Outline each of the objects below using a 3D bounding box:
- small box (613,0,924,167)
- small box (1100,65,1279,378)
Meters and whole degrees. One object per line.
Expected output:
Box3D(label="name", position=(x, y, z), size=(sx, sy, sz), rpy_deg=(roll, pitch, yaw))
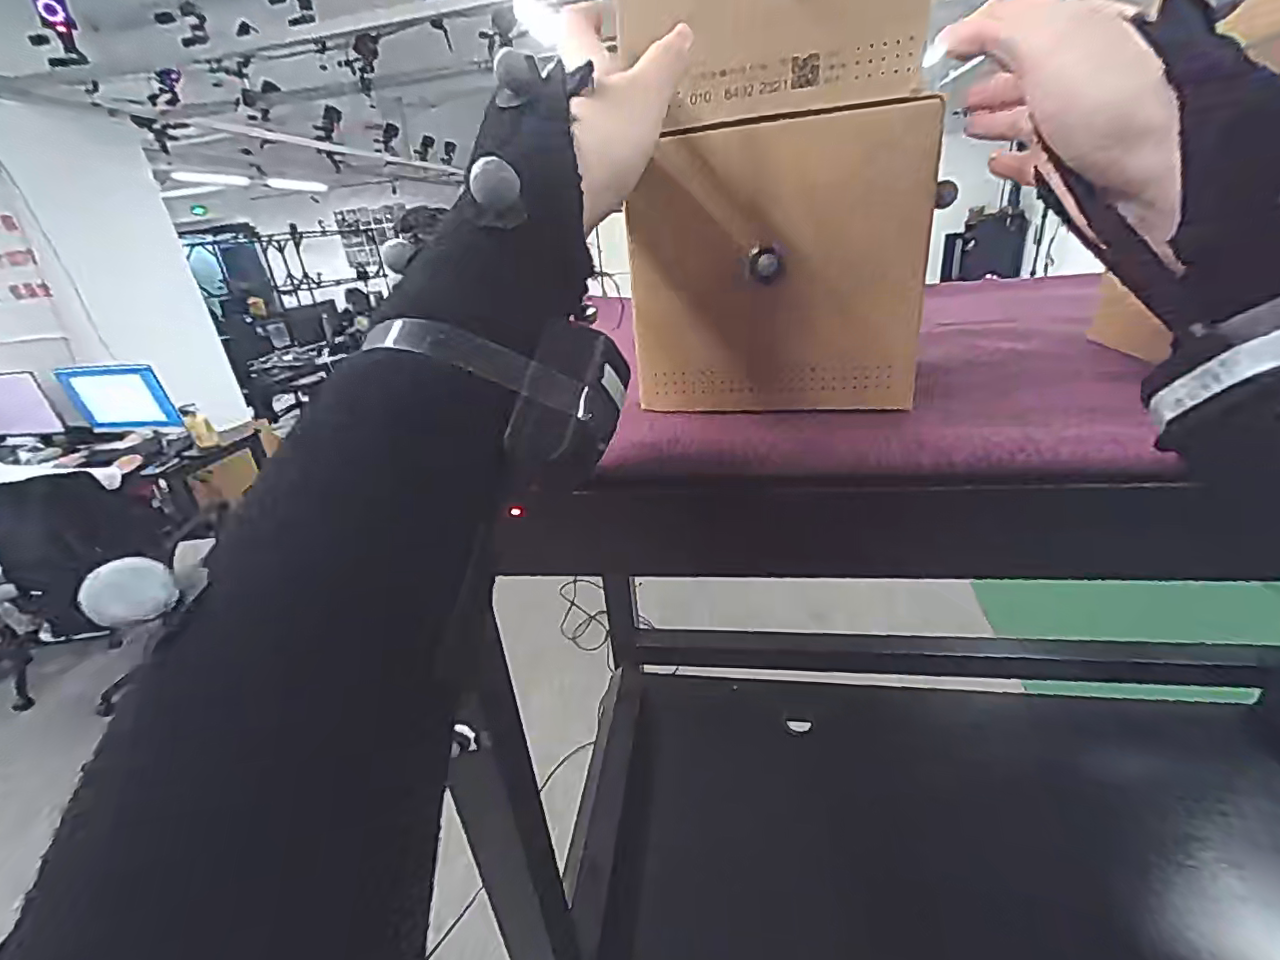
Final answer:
Box3D(label="small box", position=(0.080, -0.312, 0.344), size=(0.168, 0.176, 0.179), rpy_deg=(1, 24, 16))
Box3D(label="small box", position=(0.436, -0.164, 0.335), size=(0.168, 0.176, 0.179), rpy_deg=(1, 26, 15))
